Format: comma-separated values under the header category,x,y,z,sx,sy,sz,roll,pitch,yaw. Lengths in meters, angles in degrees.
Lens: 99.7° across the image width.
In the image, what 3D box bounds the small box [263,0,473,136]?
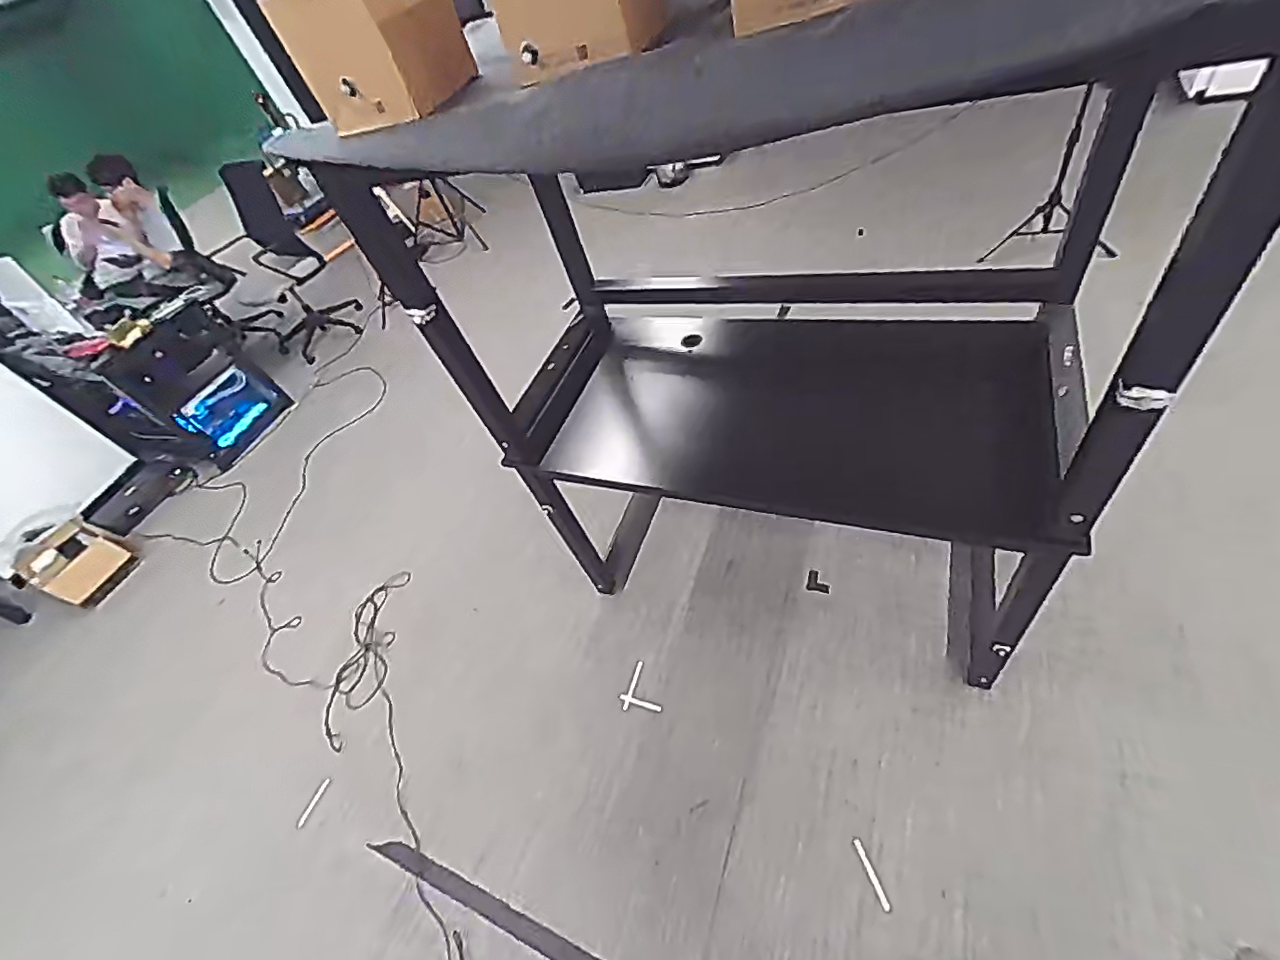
category,x,y,z,sx,sy,sz,roll,pitch,yaw
small box,-0.363,-0.616,0.759,0.168,0.176,0.179,5,54,22

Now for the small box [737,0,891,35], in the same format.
category,x,y,z,sx,sy,sz,roll,pitch,yaw
small box,0.182,-0.598,0.558,0.168,0.176,0.179,1,52,20
